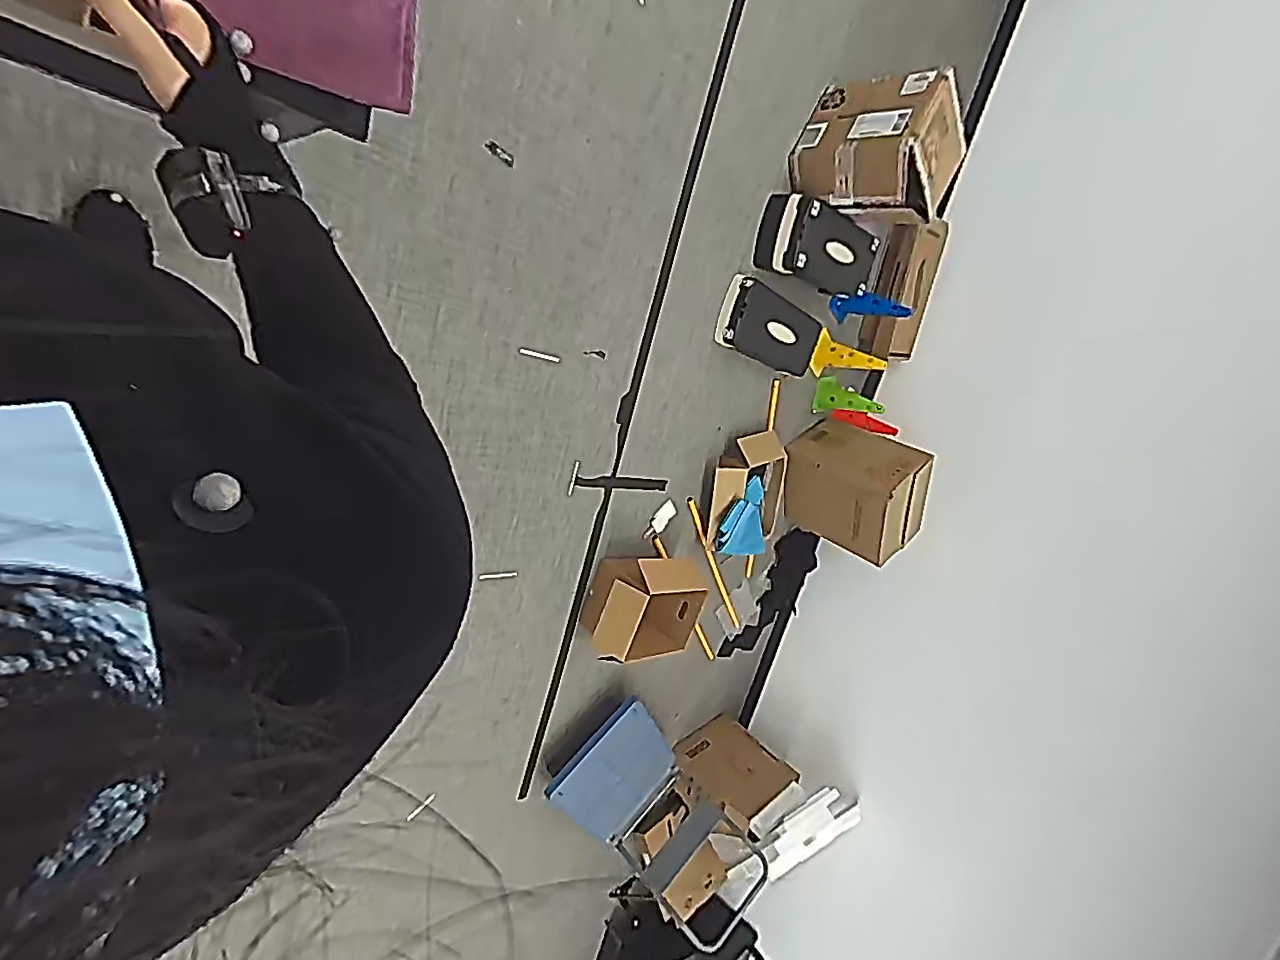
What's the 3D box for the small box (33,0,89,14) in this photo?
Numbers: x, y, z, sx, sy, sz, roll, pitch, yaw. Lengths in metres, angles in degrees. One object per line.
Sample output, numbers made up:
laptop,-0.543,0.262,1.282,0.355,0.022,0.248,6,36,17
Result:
small box,-0.456,-0.447,0.337,0.168,0.176,0.179,3,108,-47
